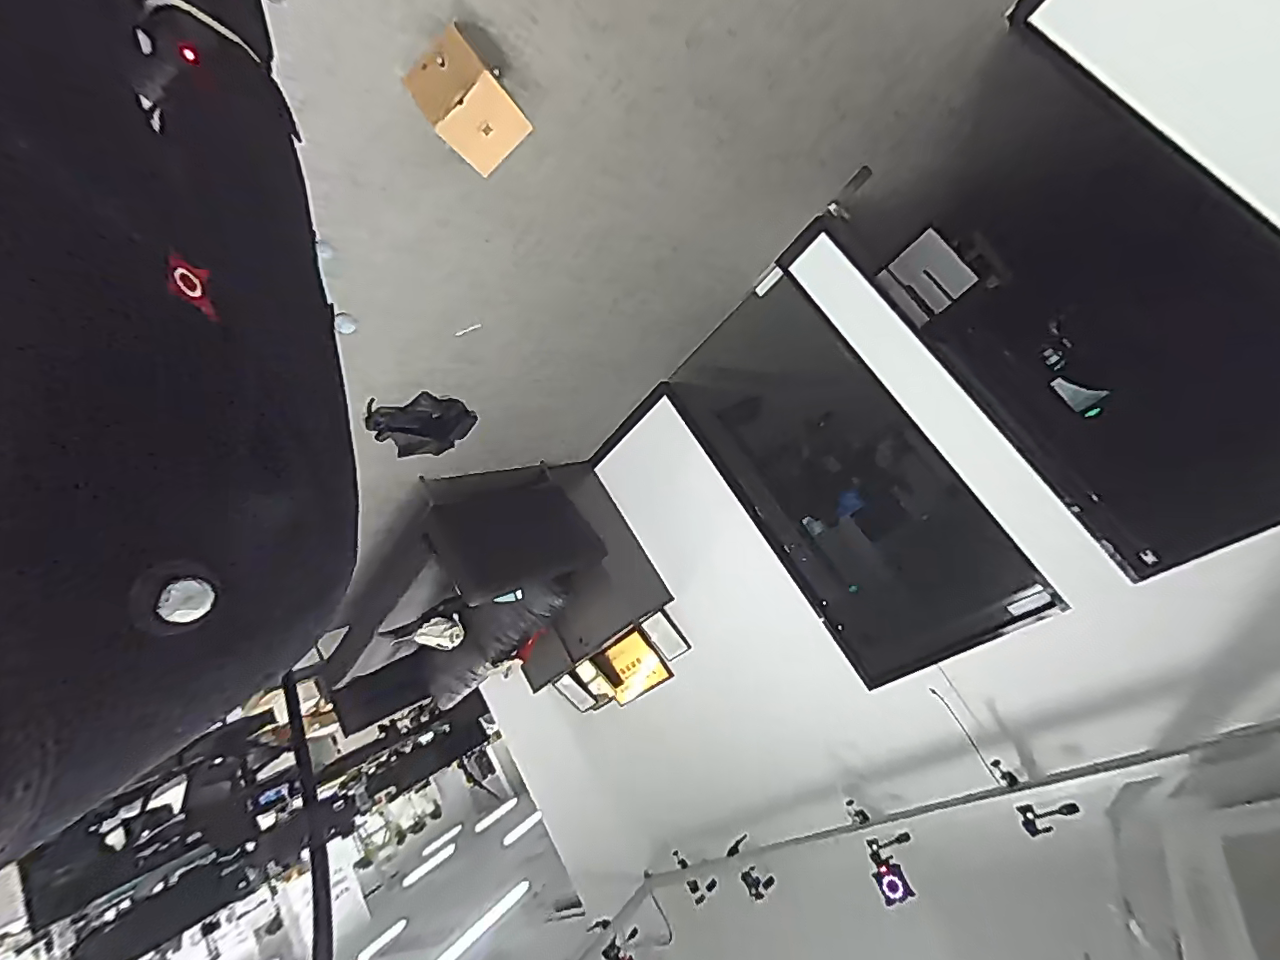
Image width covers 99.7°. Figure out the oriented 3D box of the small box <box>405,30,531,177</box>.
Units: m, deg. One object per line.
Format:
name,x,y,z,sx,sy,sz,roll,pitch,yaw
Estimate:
small box,-0.383,-0.839,1.213,0.168,0.176,0.179,-36,164,16
